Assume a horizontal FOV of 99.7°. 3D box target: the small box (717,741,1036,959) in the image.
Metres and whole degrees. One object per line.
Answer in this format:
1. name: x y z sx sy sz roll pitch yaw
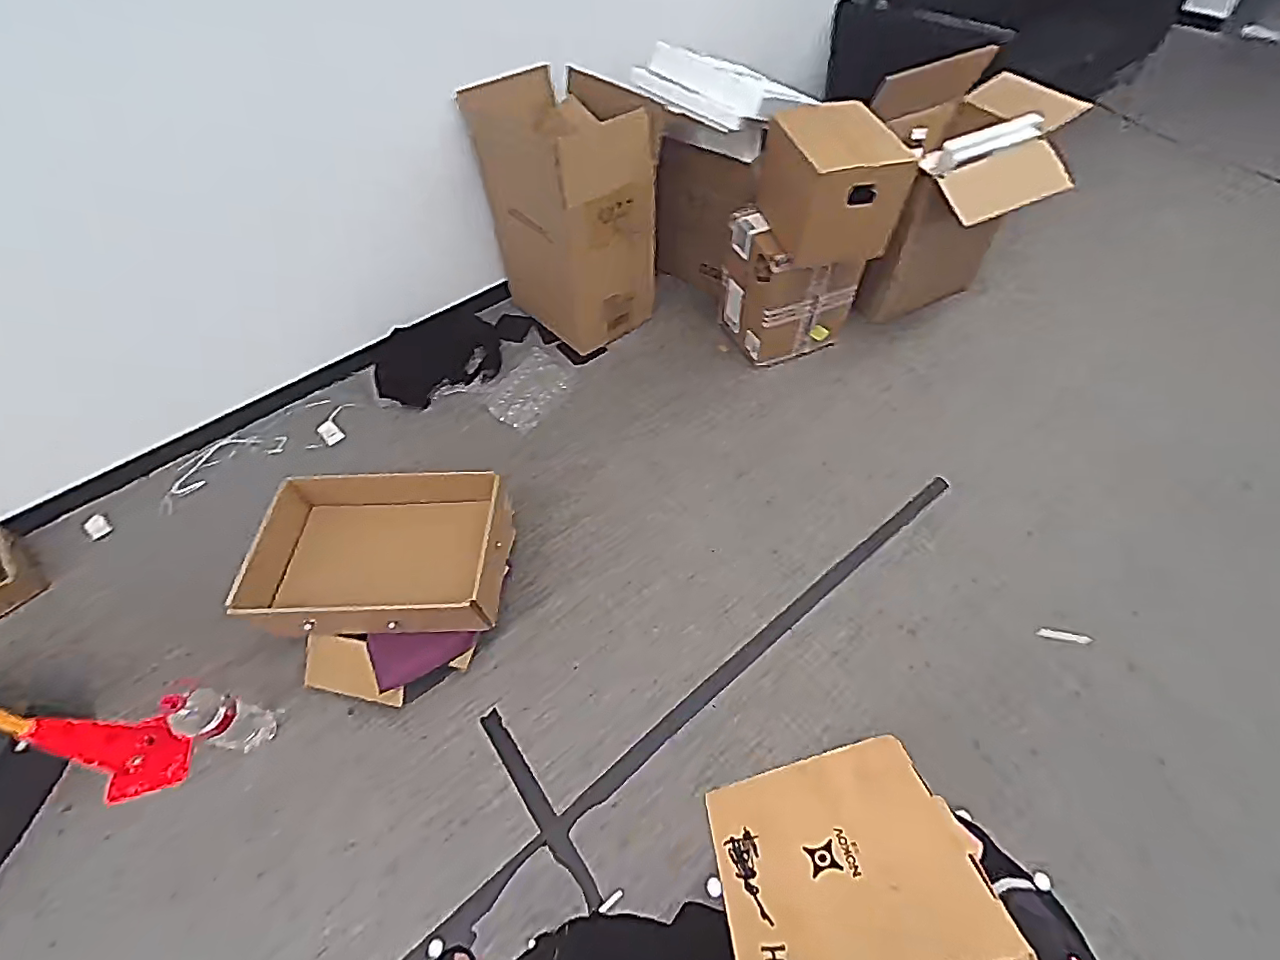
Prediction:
1. small box: 0.179 0.355 0.433 0.179 0.176 0.168 -19 19 4
